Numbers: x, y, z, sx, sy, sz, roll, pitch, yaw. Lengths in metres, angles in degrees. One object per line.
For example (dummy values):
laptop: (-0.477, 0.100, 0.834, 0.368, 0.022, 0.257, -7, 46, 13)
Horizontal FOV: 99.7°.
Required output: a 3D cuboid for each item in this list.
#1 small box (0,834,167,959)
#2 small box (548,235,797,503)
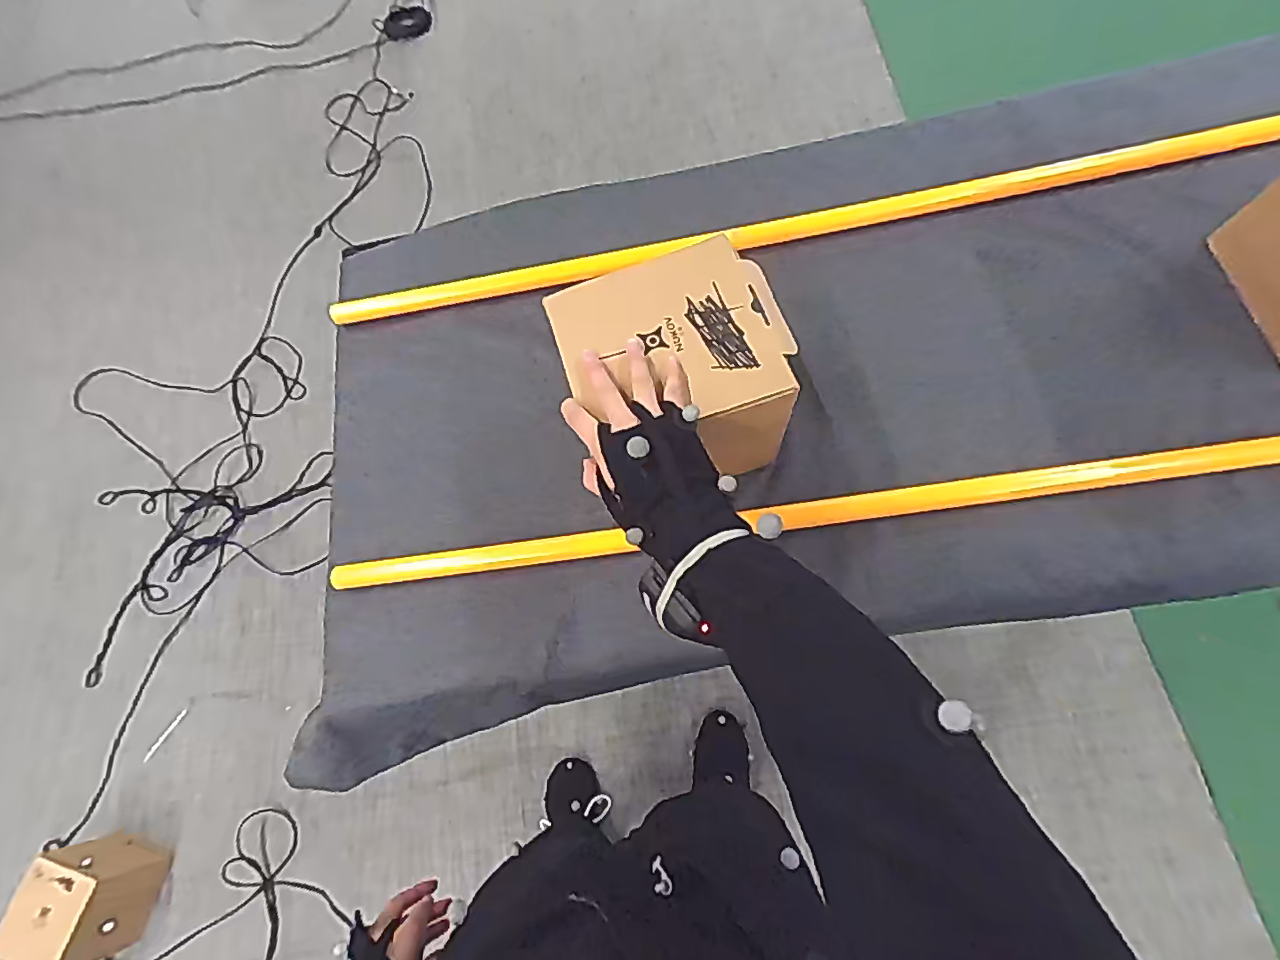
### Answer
small box: (-1.158, 0.880, 1.129, 0.168, 0.176, 0.179, 11, 73, 11)
small box: (0.030, -0.095, 0.530, 0.179, 0.176, 0.168, -19, 70, 1)
